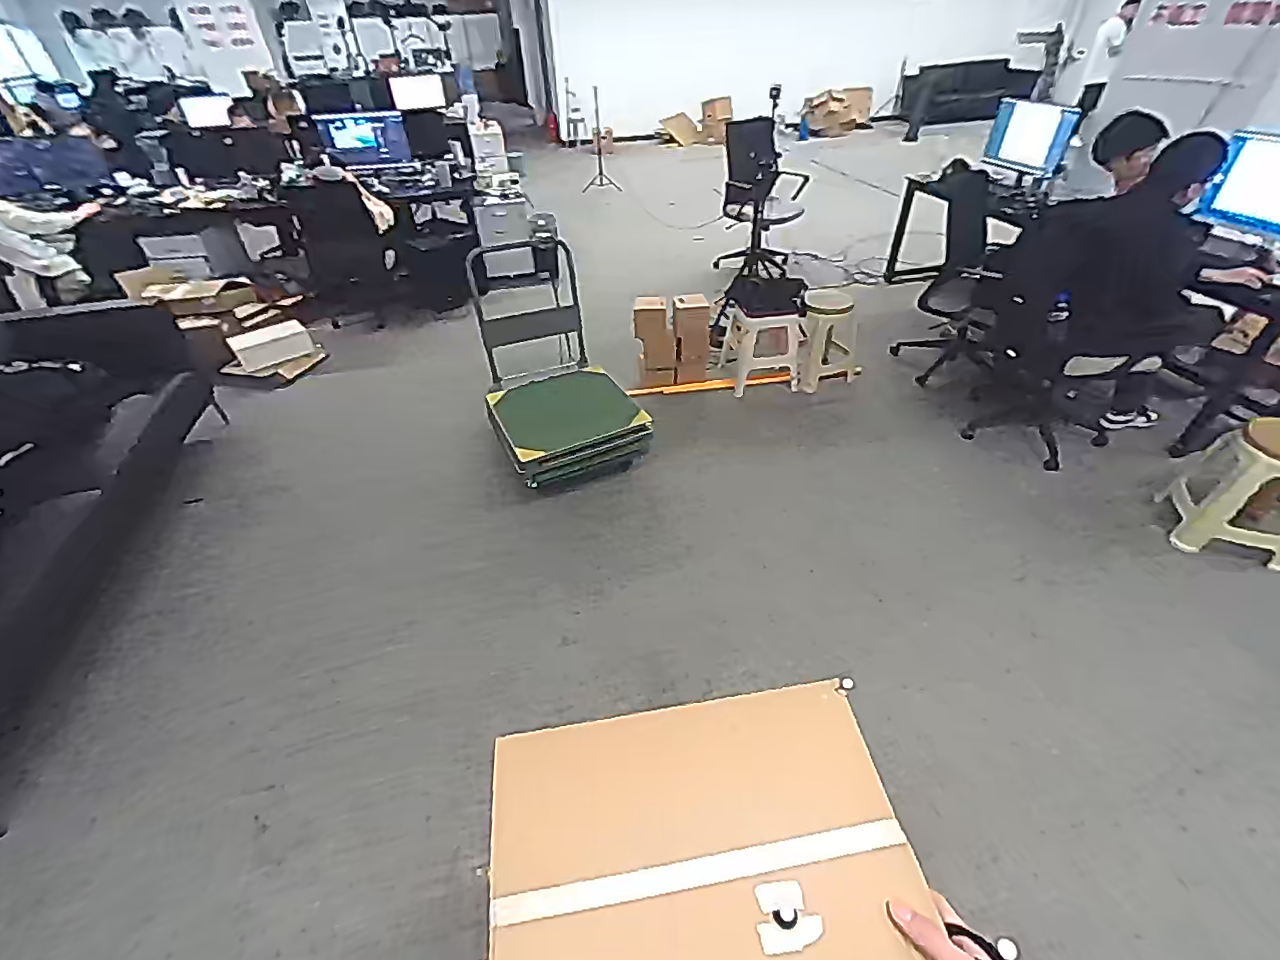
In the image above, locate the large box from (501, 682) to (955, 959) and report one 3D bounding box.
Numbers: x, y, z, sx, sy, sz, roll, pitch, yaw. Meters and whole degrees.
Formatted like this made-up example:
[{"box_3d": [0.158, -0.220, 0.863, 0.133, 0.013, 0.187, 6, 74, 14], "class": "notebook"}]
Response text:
[{"box_3d": [0.069, 0.483, 0.635, 0.408, 0.320, 0.320, -8, 48, -5], "class": "large box"}]
